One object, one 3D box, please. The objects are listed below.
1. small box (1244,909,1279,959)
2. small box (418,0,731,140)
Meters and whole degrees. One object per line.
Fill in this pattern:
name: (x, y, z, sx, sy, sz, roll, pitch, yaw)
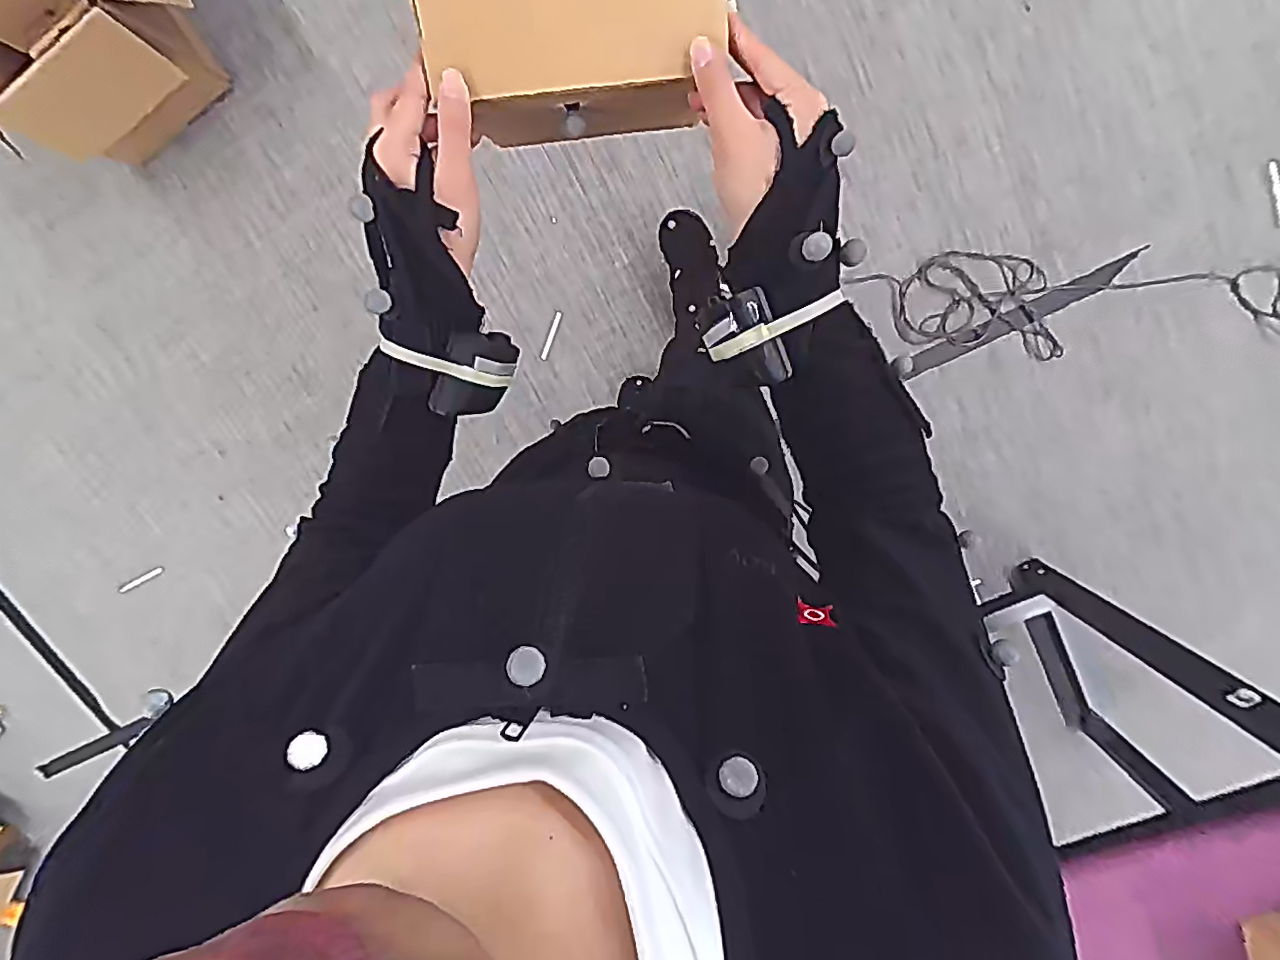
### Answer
small box: (0.940, 0.683, 0.686, 0.168, 0.176, 0.179, -19, 102, 7)
small box: (-0.041, -0.338, 0.355, 0.179, 0.176, 0.168, -4, 114, 3)
